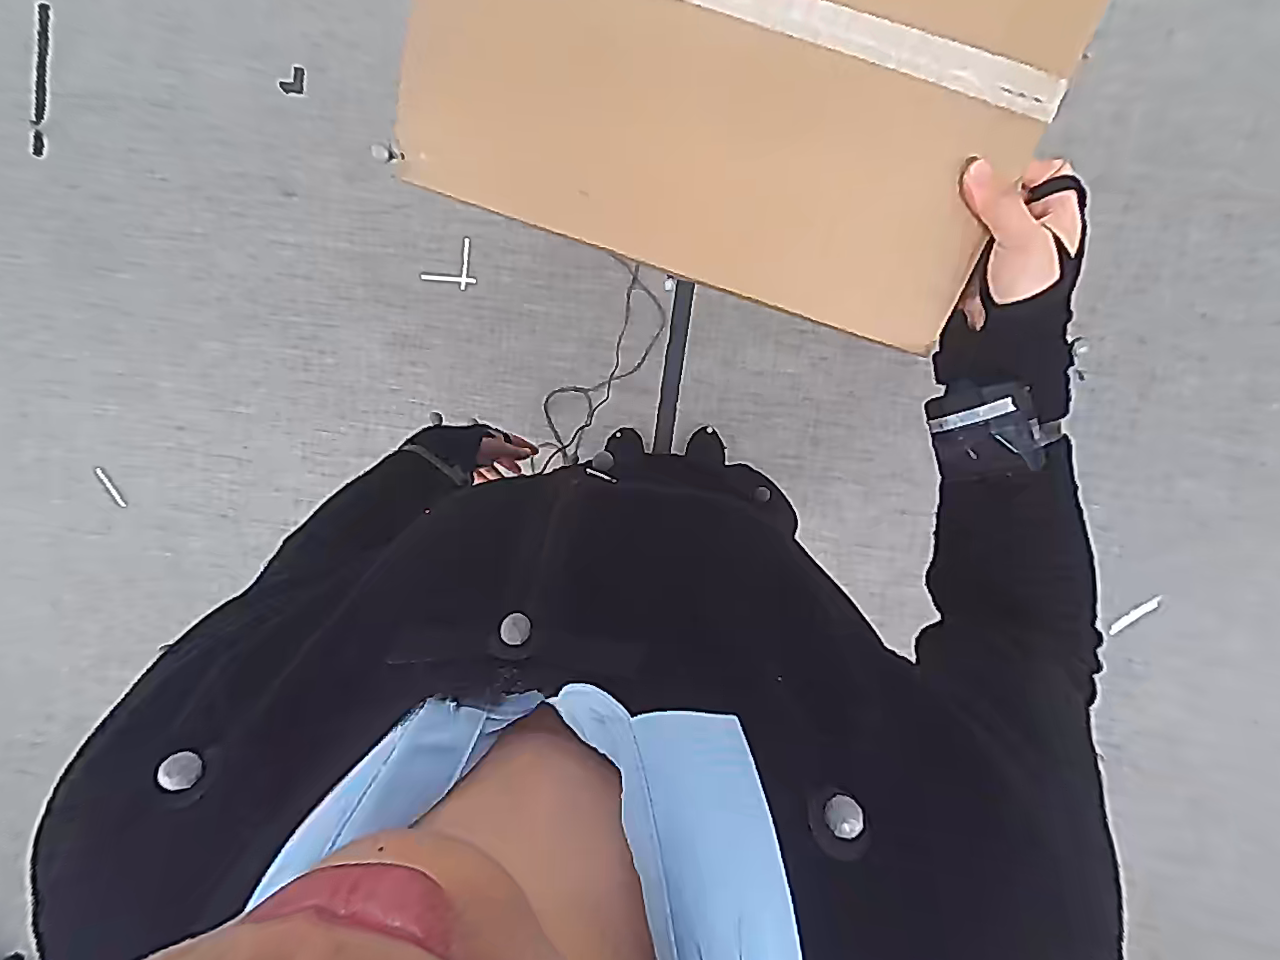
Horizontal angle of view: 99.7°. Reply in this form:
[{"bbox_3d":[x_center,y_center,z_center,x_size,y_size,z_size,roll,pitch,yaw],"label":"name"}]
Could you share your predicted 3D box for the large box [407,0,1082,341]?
[{"bbox_3d":[0.078,-0.342,0.481,0.408,0.320,0.320,19,110,2],"label":"large box"}]
